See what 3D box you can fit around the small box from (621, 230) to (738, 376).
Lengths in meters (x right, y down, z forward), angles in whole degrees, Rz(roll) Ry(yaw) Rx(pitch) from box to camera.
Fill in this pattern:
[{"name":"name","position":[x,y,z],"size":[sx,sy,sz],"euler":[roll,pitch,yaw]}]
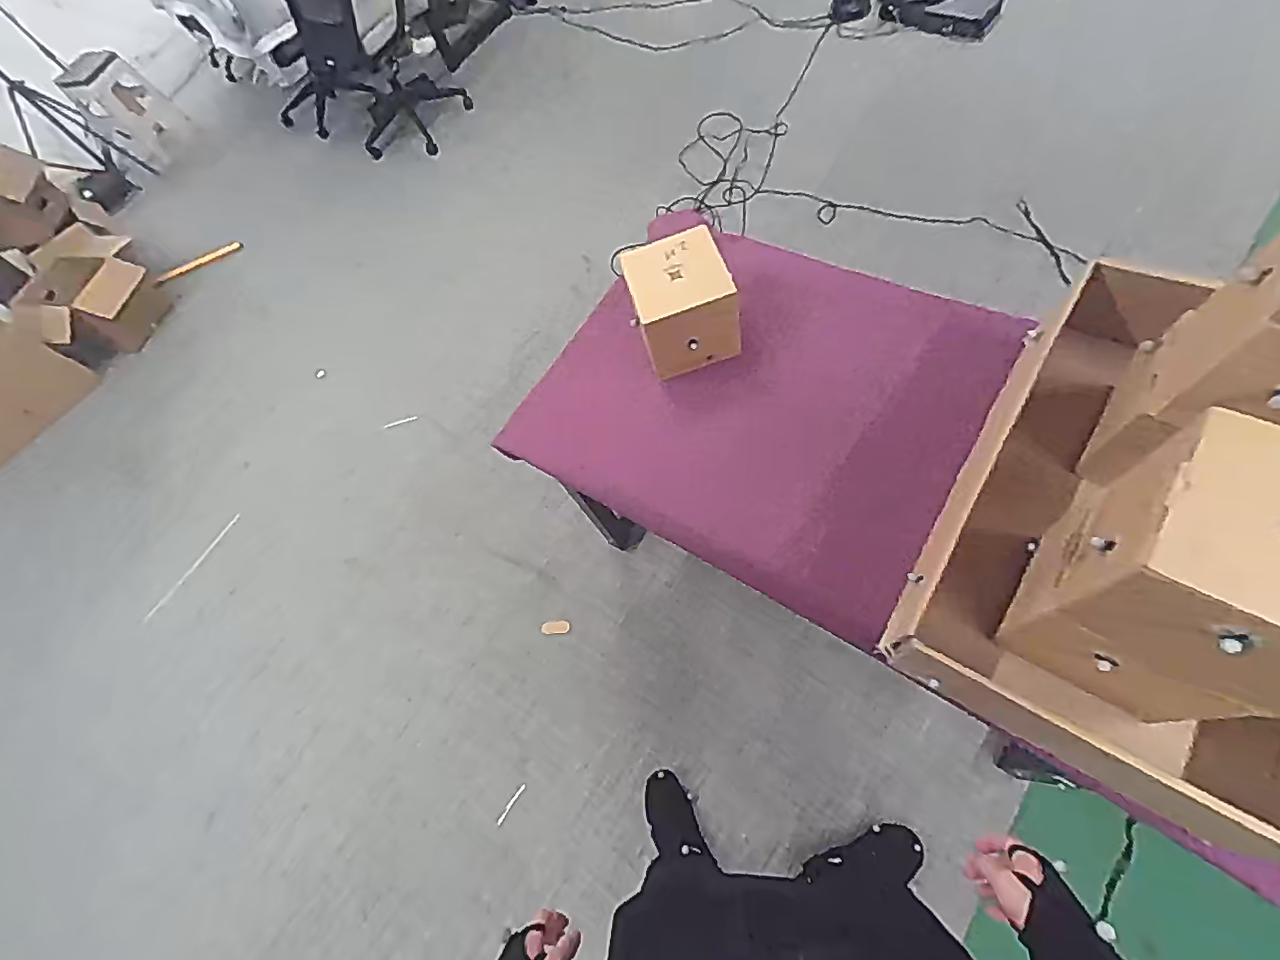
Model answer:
[{"name":"small box","position":[0.077,-0.313,0.996],"size":[0.168,0.176,0.179],"euler":[-17,63,3]}]

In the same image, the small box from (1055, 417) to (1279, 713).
[{"name":"small box","position":[0.513,0.082,0.468],"size":[0.179,0.176,0.168],"euler":[31,75,25]}]

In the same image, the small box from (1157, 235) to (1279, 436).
[{"name":"small box","position":[0.671,-0.125,0.531],"size":[0.168,0.176,0.179],"euler":[30,75,24]}]
